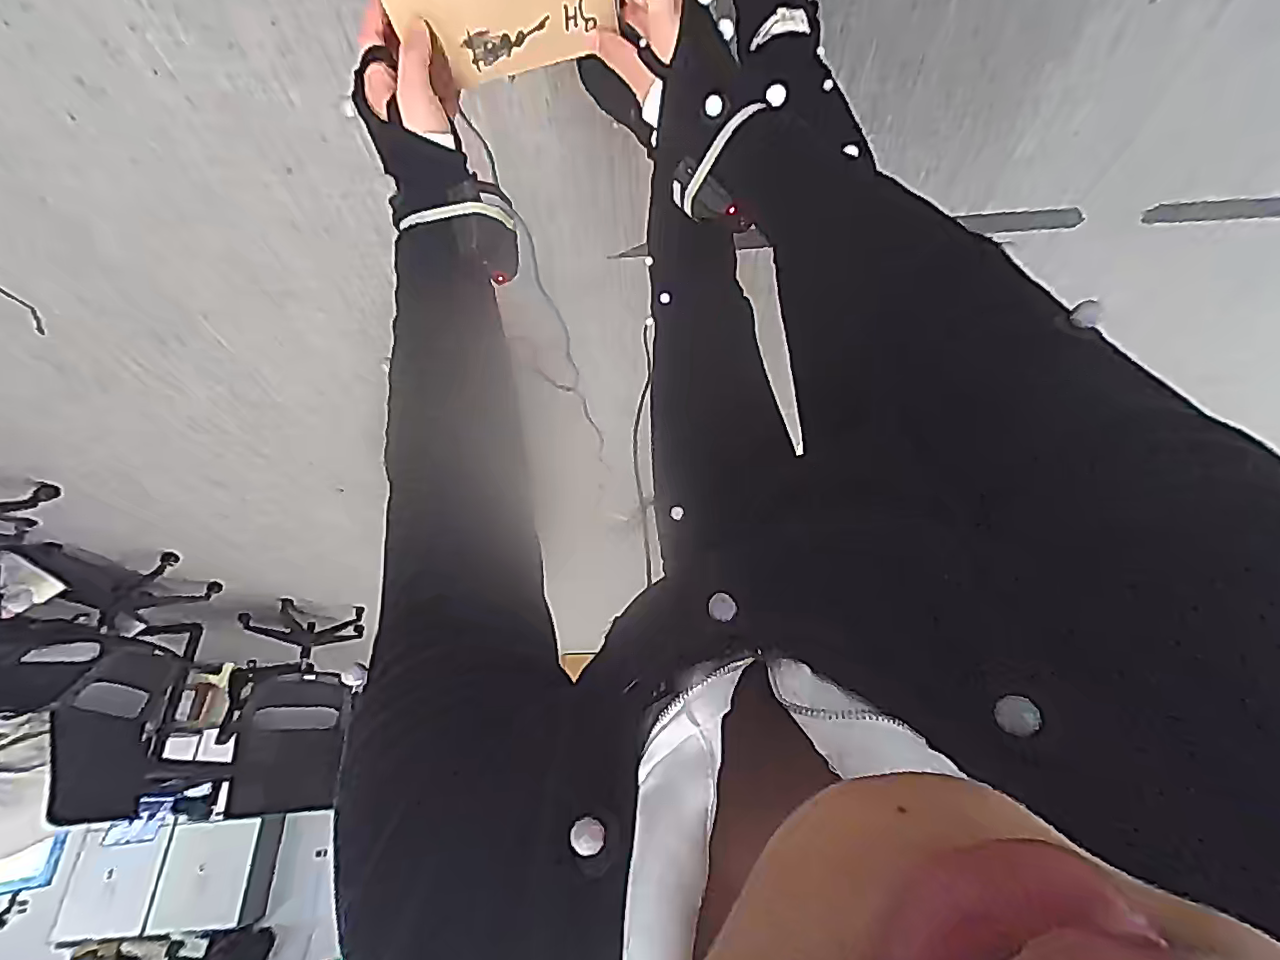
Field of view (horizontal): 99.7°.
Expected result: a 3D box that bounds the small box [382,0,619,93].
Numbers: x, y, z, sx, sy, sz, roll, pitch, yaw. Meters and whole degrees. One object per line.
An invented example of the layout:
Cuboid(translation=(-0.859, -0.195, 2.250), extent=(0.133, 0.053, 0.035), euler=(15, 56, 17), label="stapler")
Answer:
Cuboid(translation=(-0.119, -0.438, 0.399), extent=(0.168, 0.176, 0.179), euler=(-11, 150, 6), label="small box")
